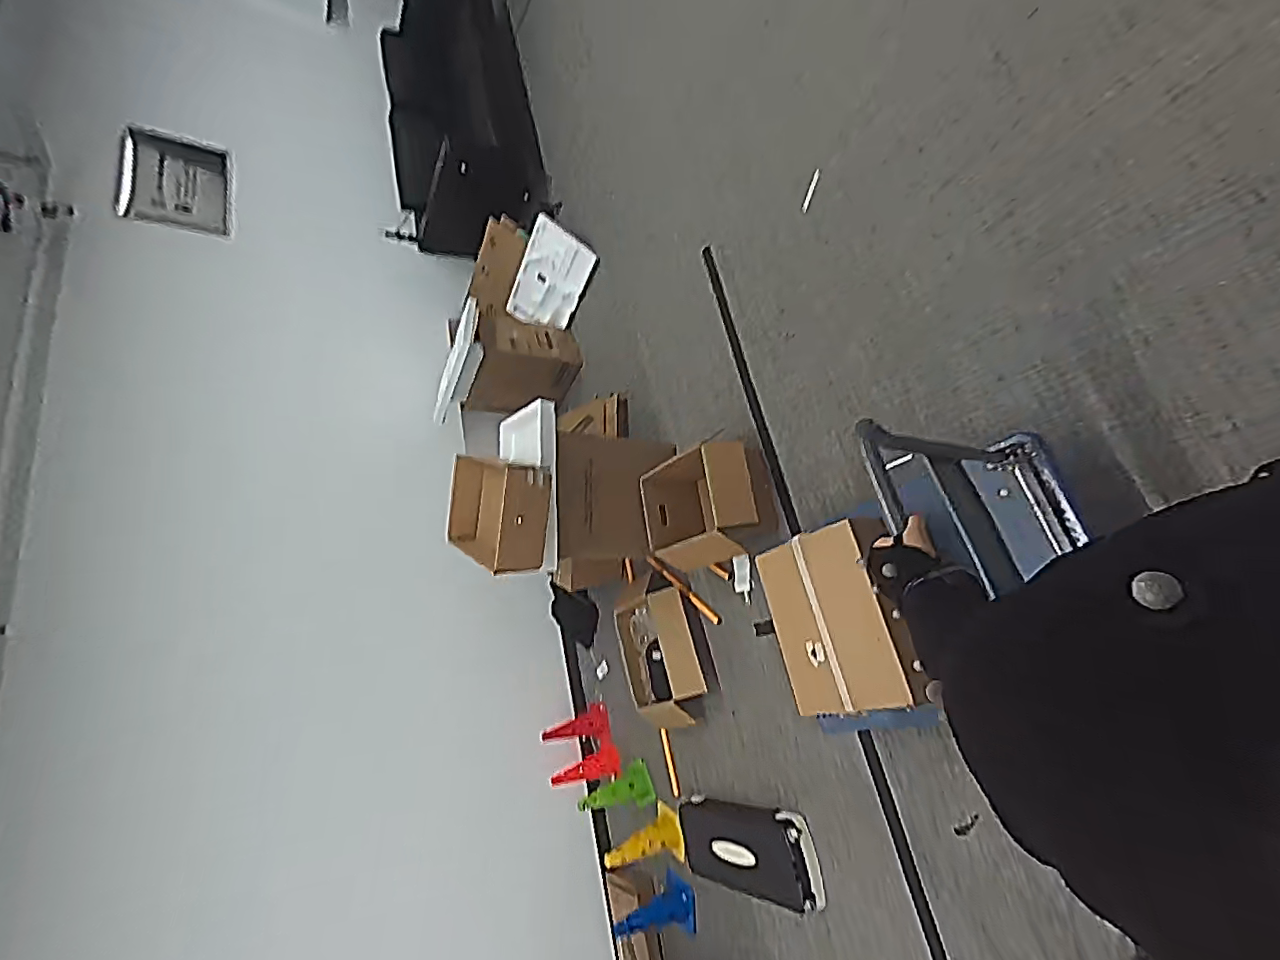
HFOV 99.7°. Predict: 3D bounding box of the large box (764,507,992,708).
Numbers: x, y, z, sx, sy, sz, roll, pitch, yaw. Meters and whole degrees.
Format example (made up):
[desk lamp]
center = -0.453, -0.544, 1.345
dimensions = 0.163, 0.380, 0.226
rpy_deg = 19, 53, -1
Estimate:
[large box]
center = 0.575, 0.309, 1.344
dimensions = 0.320, 0.320, 0.408
rpy_deg = -39, 59, 50
